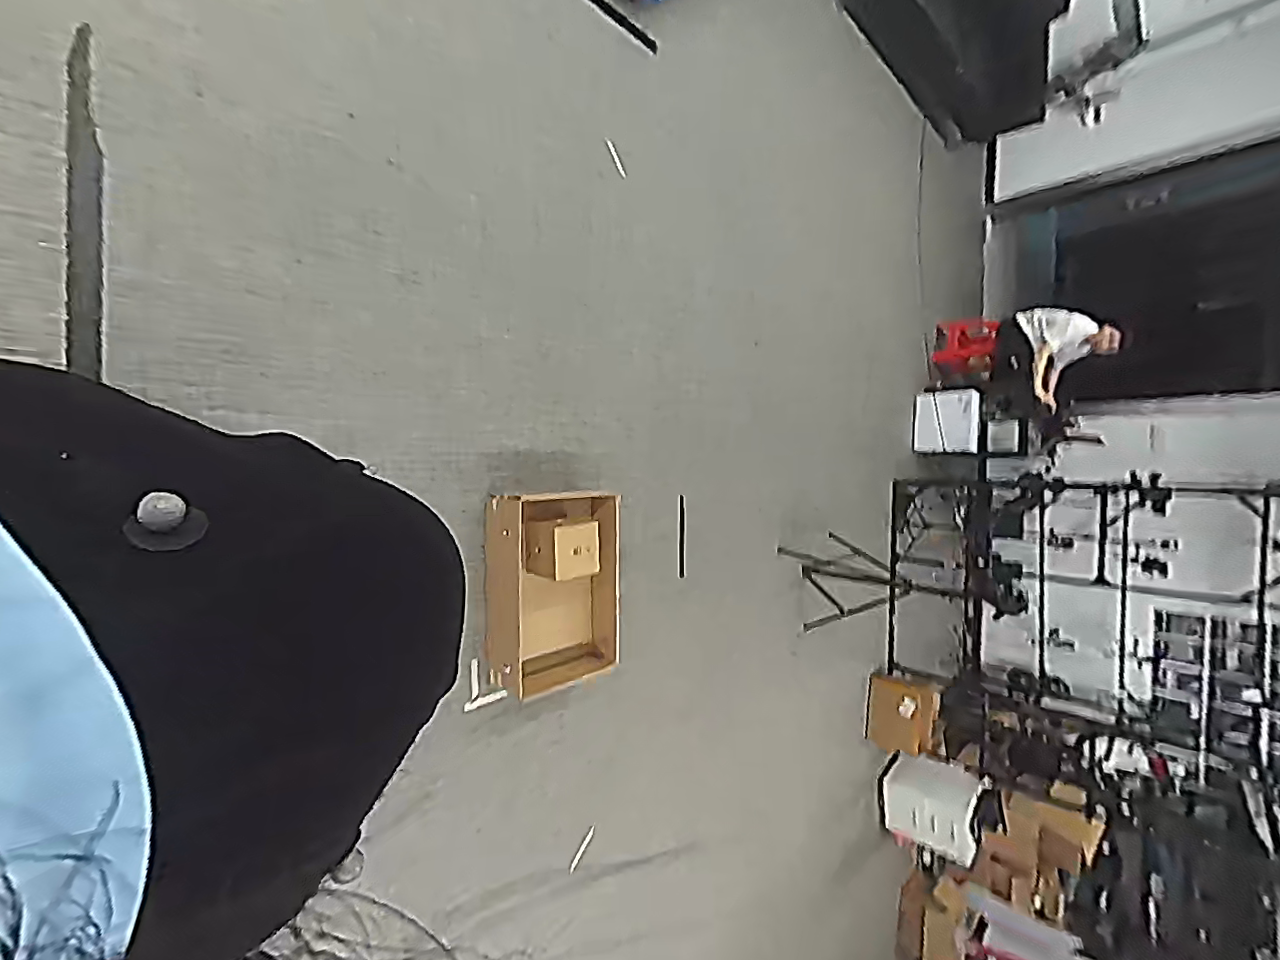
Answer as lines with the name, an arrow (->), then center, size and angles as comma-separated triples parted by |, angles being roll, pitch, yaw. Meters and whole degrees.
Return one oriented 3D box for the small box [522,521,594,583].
small box -> -0.269, 0.227, 1.748 | 0.179, 0.176, 0.168 | -4, 96, -45
